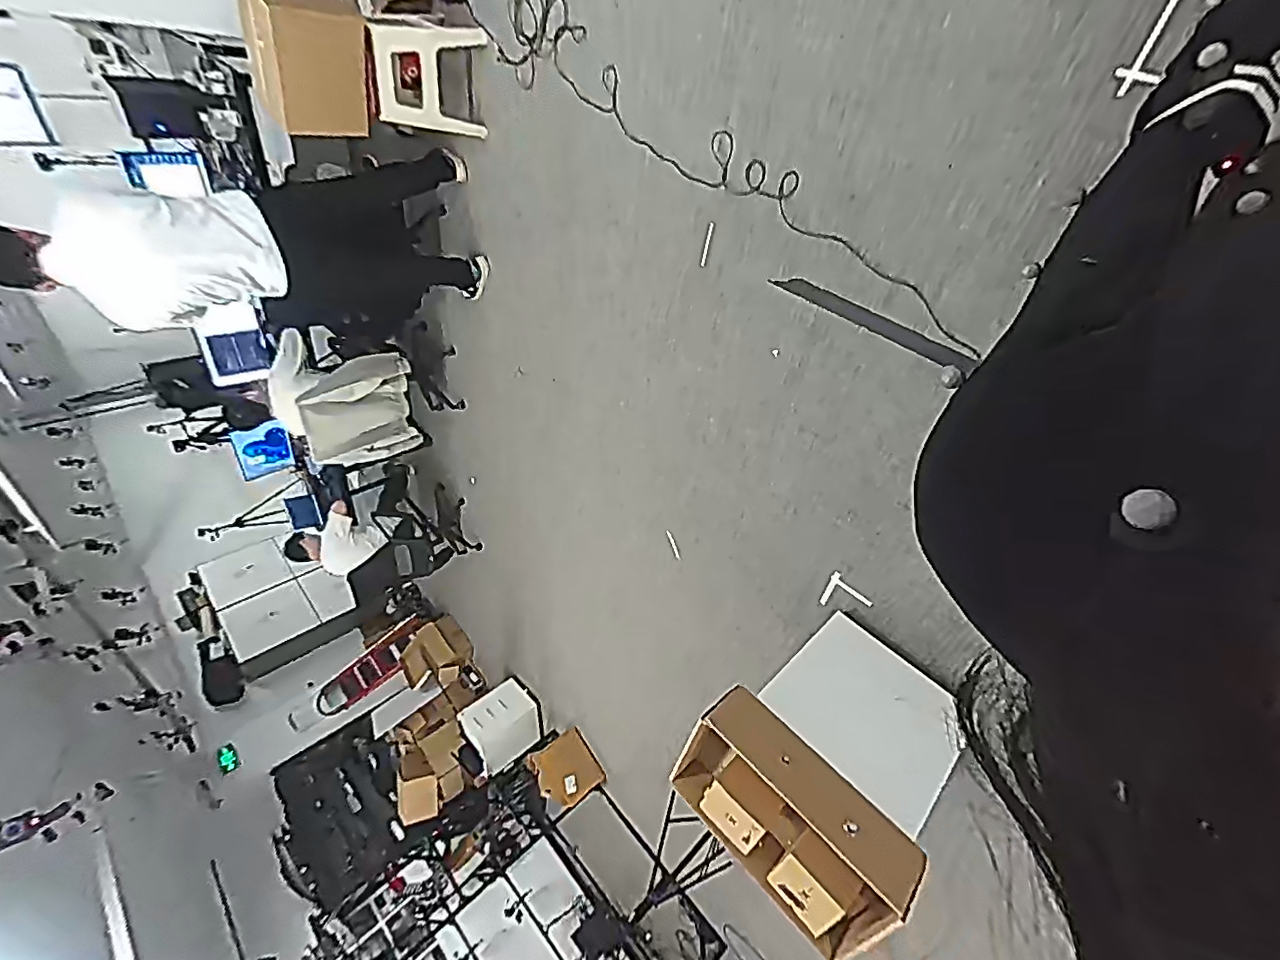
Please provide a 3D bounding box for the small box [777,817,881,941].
[{"bbox_3d":[0.494,1.032,1.407,0.168,0.176,0.179,38,131,30],"label":"small box"}]

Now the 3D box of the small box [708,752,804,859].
[{"bbox_3d":[0.328,0.911,1.535,0.179,0.176,0.168,37,131,29],"label":"small box"}]
